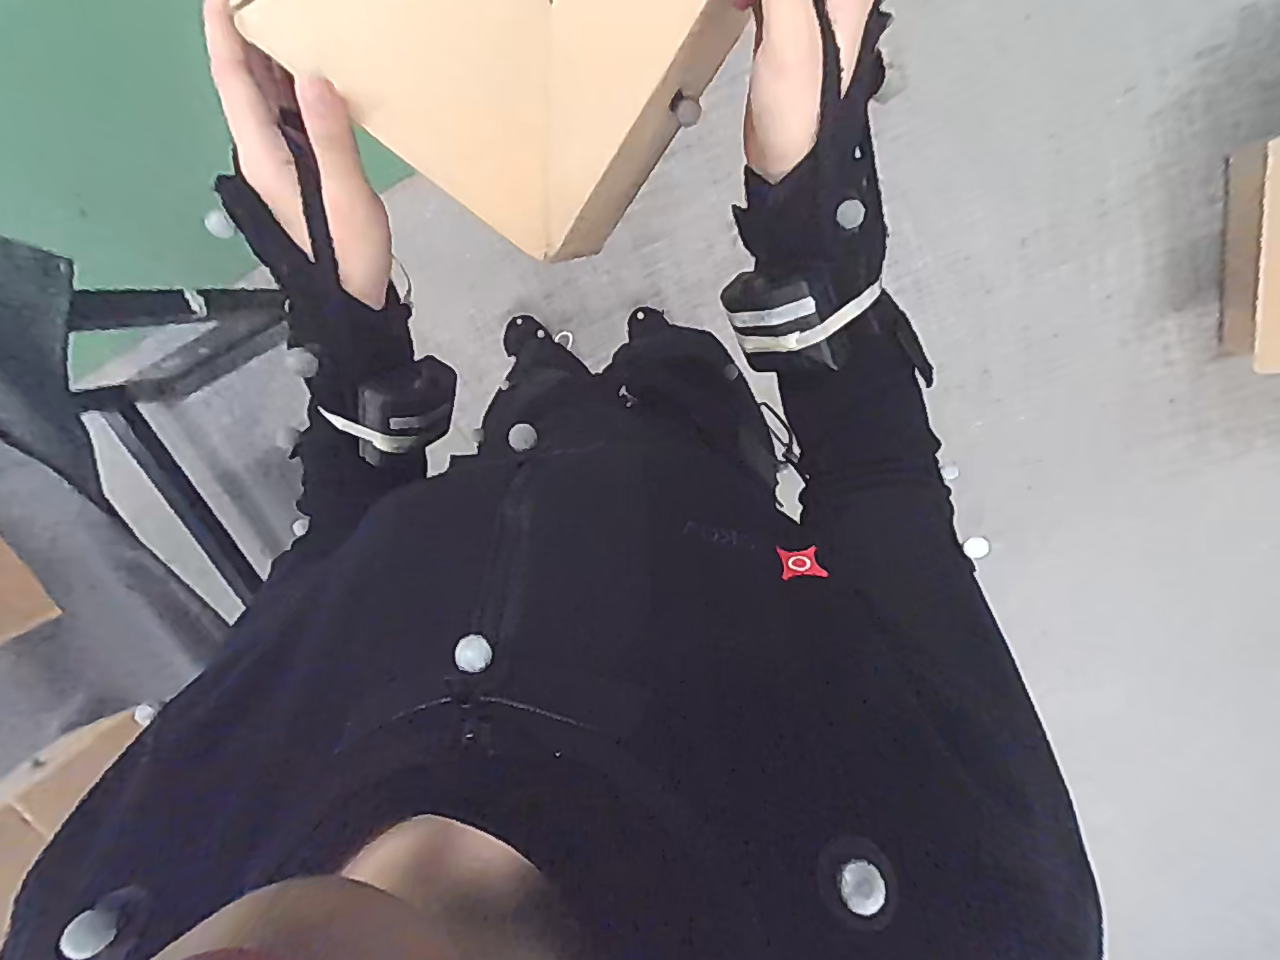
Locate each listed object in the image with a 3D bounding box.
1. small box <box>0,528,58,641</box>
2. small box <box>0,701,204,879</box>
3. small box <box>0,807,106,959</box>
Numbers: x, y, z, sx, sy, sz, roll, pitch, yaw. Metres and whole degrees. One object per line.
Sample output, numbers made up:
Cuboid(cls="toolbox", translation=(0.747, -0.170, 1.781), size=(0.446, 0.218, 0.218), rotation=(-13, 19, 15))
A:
Cuboid(cls="small box", translation=(-0.933, 0.160, 0.692), size=(0.168, 0.176, 0.179), rotation=(-21, 106, 13))
Cuboid(cls="small box", translation=(-0.802, 0.457, 0.783), size=(0.179, 0.176, 0.168), rotation=(-22, 106, 12))
Cuboid(cls="small box", translation=(-0.813, 0.517, 0.633), size=(0.168, 0.176, 0.179), rotation=(-23, 107, 14))
